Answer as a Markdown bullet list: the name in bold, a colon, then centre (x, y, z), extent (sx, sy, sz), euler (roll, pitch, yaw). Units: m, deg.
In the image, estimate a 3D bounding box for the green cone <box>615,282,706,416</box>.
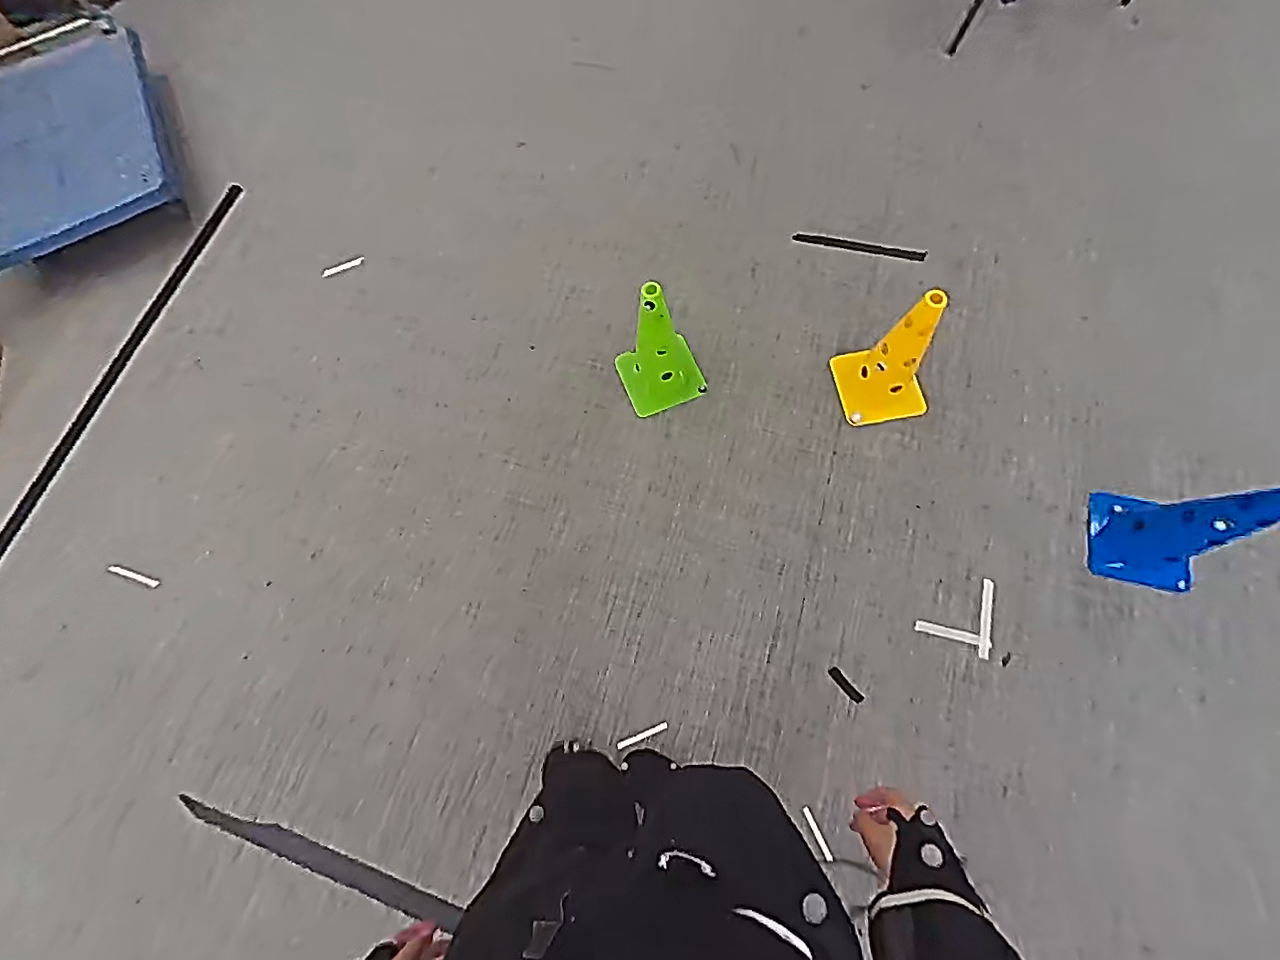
- **green cone**: centre (0.035, -0.339, 1.276), extent (0.202, 0.368, 0.200), euler (-23, 70, -2)
